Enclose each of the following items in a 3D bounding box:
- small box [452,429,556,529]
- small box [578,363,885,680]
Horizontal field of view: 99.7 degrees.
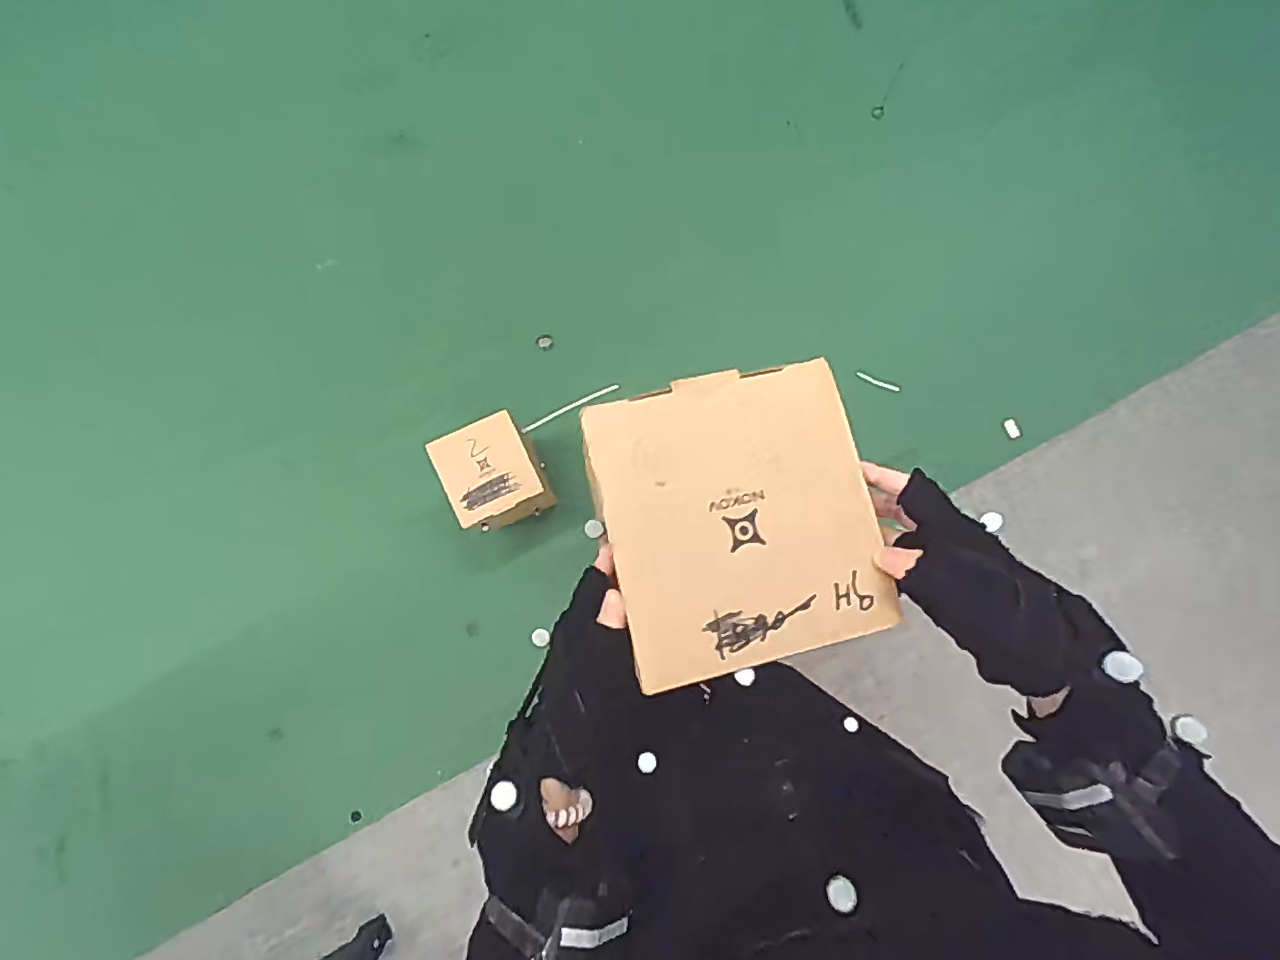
[{"bbox_3d":[-0.305,0.002,1.252,0.168,0.176,0.179,-23,87,-5],"label":"small box"},{"bbox_3d":[0.052,0.033,0.420,0.168,0.176,0.179,-13,83,-3],"label":"small box"}]
